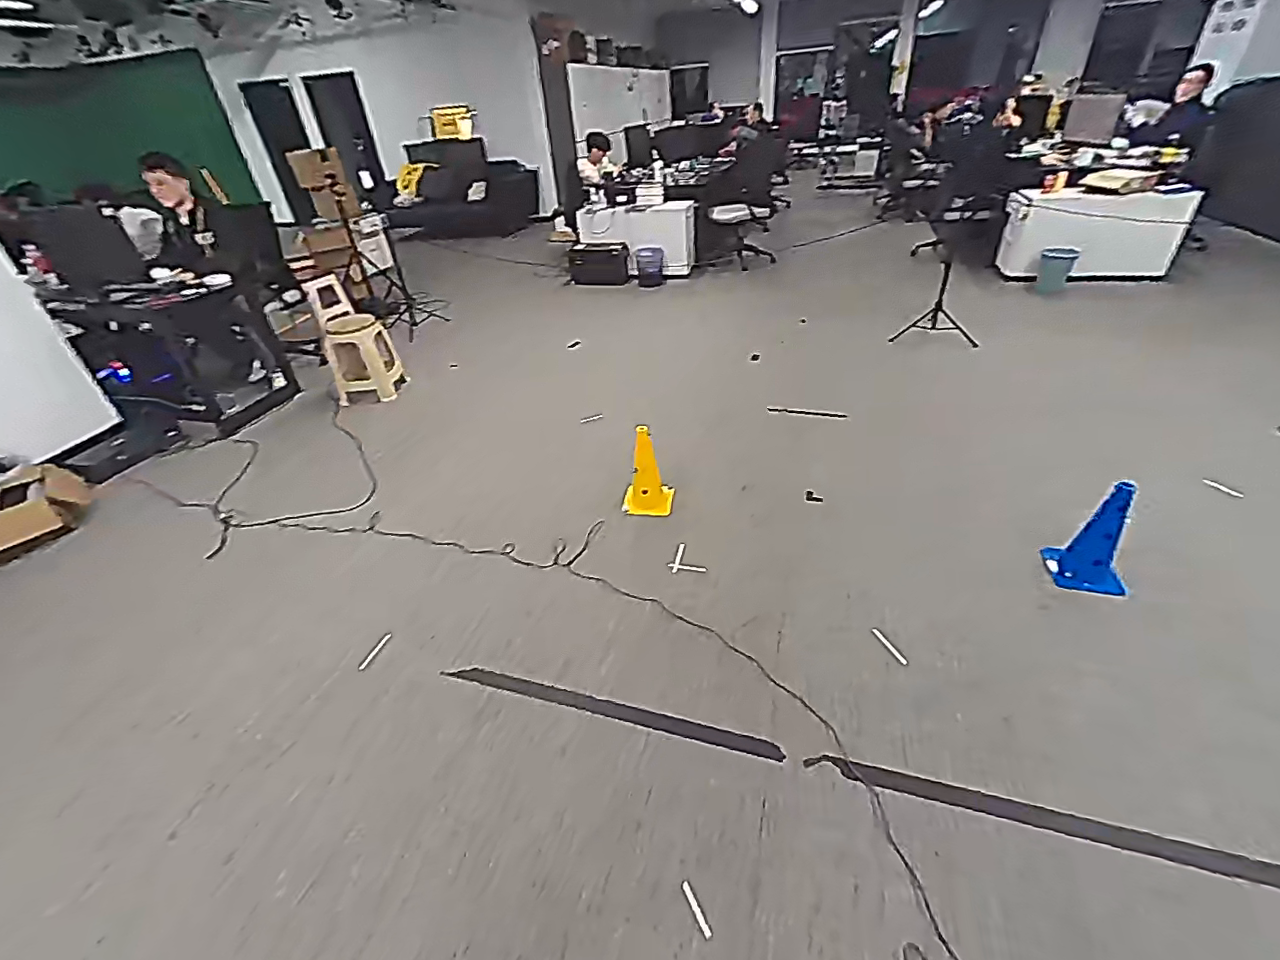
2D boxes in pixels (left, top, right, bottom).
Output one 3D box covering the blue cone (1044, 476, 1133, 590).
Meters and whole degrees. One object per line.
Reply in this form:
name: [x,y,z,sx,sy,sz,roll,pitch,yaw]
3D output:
blue cone: [1.471,0.156,1.718,0.193,0.380,0.192,7,36,17]
